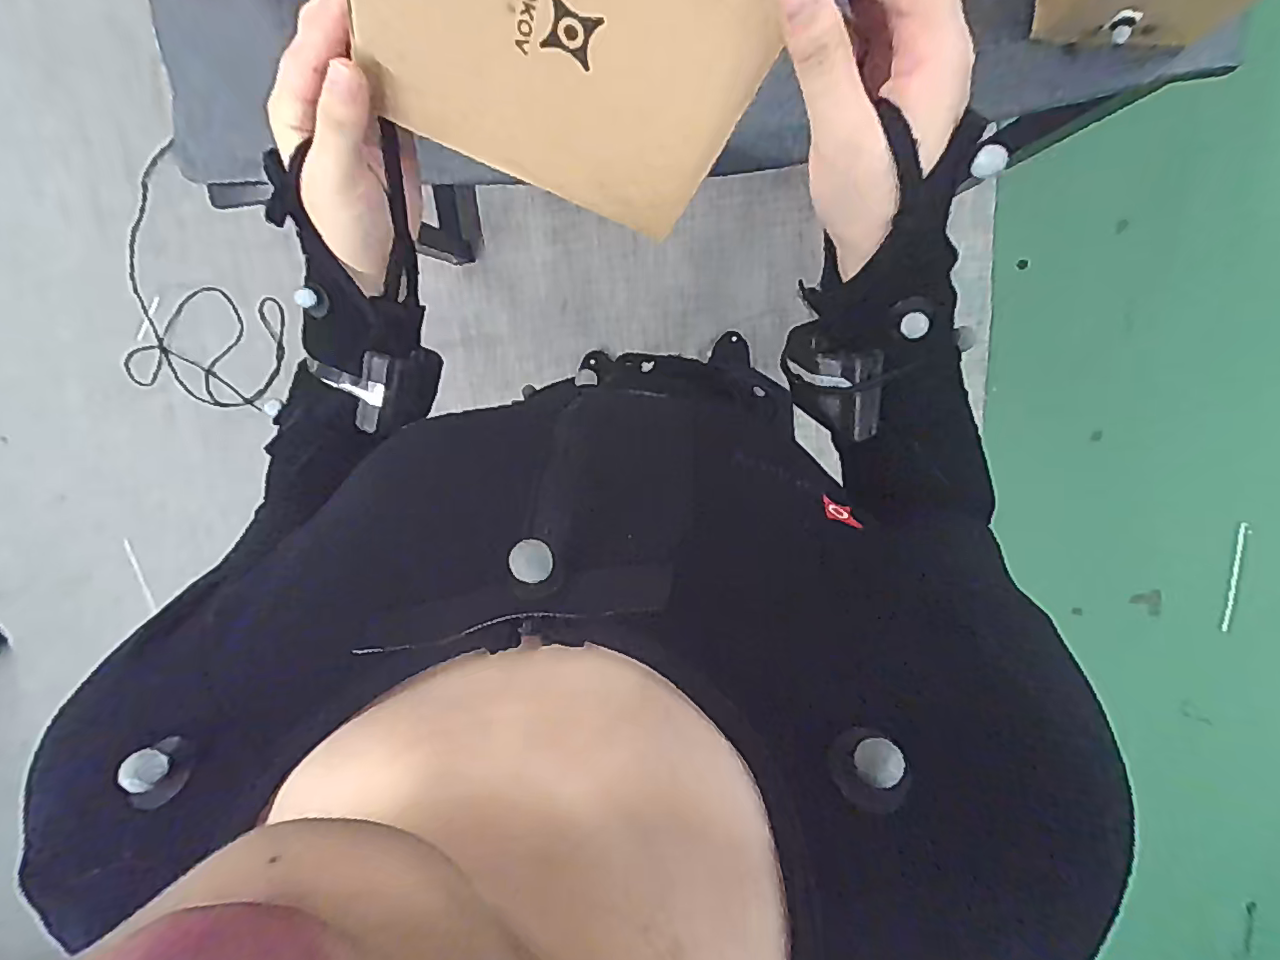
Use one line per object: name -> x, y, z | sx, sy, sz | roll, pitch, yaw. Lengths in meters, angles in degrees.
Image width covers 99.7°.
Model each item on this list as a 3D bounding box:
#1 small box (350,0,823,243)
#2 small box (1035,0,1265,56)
small box -> -0.021, -0.260, 0.257 | 0.179, 0.168, 0.176 | 17, 67, -17
small box -> 0.496, -0.525, 0.480 | 0.168, 0.176, 0.179 | 5, 101, 5
